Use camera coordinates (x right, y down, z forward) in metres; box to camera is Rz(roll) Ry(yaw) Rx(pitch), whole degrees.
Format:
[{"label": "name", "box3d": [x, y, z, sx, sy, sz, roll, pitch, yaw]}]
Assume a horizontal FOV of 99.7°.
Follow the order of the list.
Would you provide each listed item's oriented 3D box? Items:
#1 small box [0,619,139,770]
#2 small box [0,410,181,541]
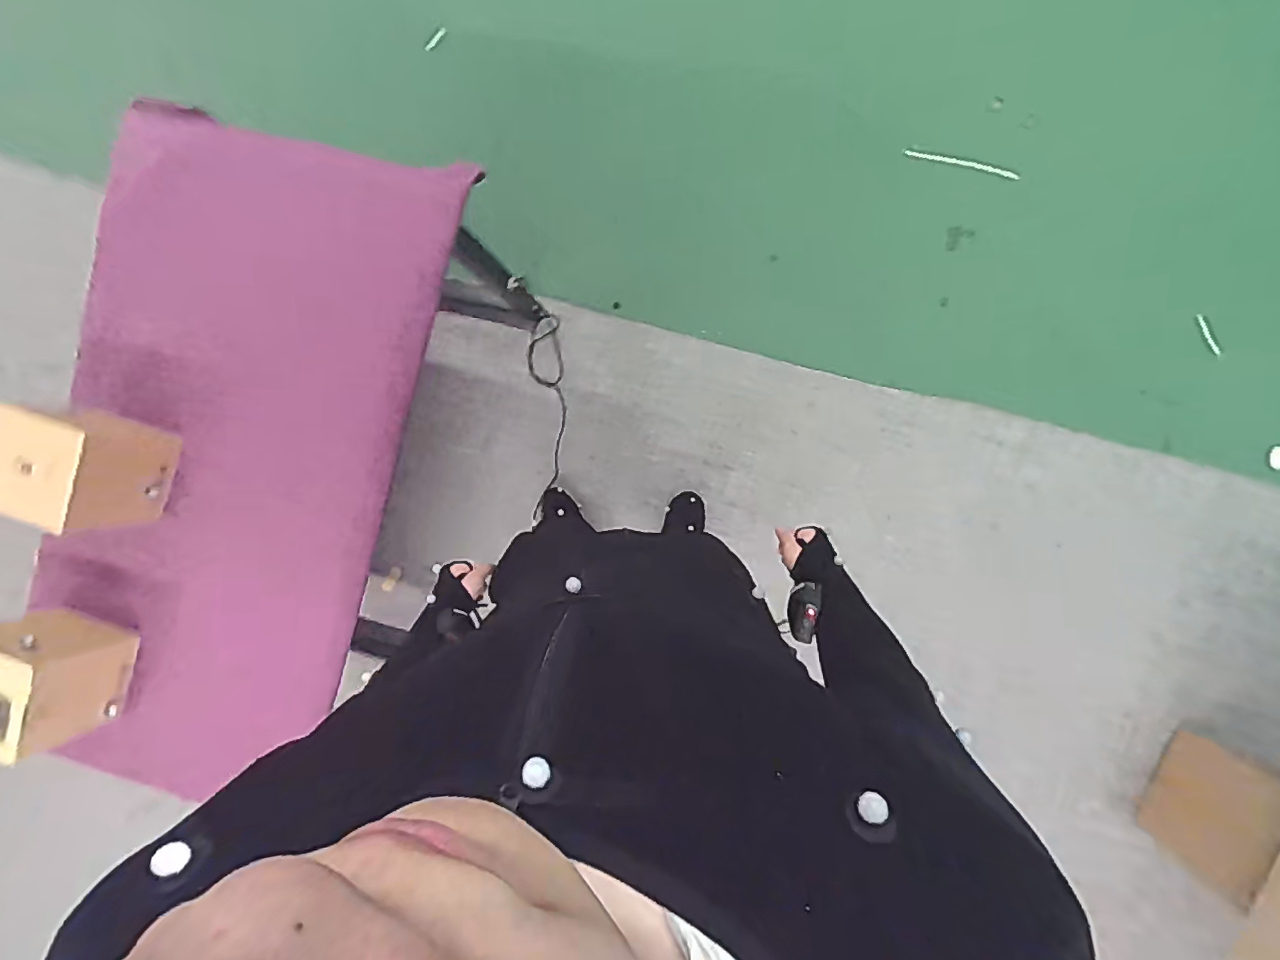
[{"label": "small box", "box3d": [-1.033, 0.357, 0.935, 0.179, 0.176, 0.168, 16, 93, 3]}, {"label": "small box", "box3d": [-0.946, -0.010, 0.915, 0.179, 0.176, 0.168, 17, 95, 3]}]
